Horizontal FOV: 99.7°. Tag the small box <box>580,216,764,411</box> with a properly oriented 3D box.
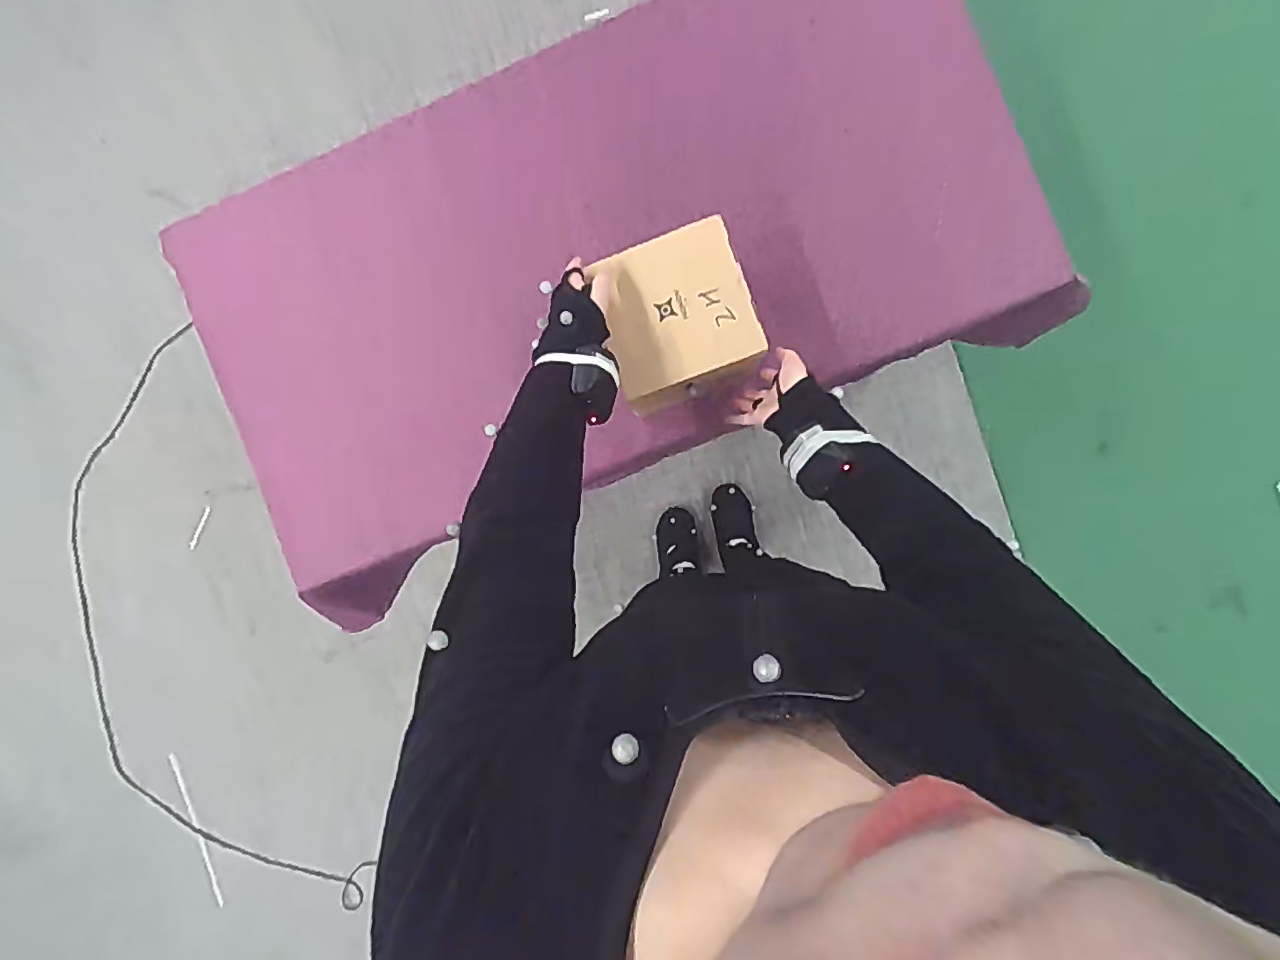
[{"bbox_3d":[0.042,-0.198,0.698,0.179,0.176,0.168,-20,90,4],"label":"small box"}]
